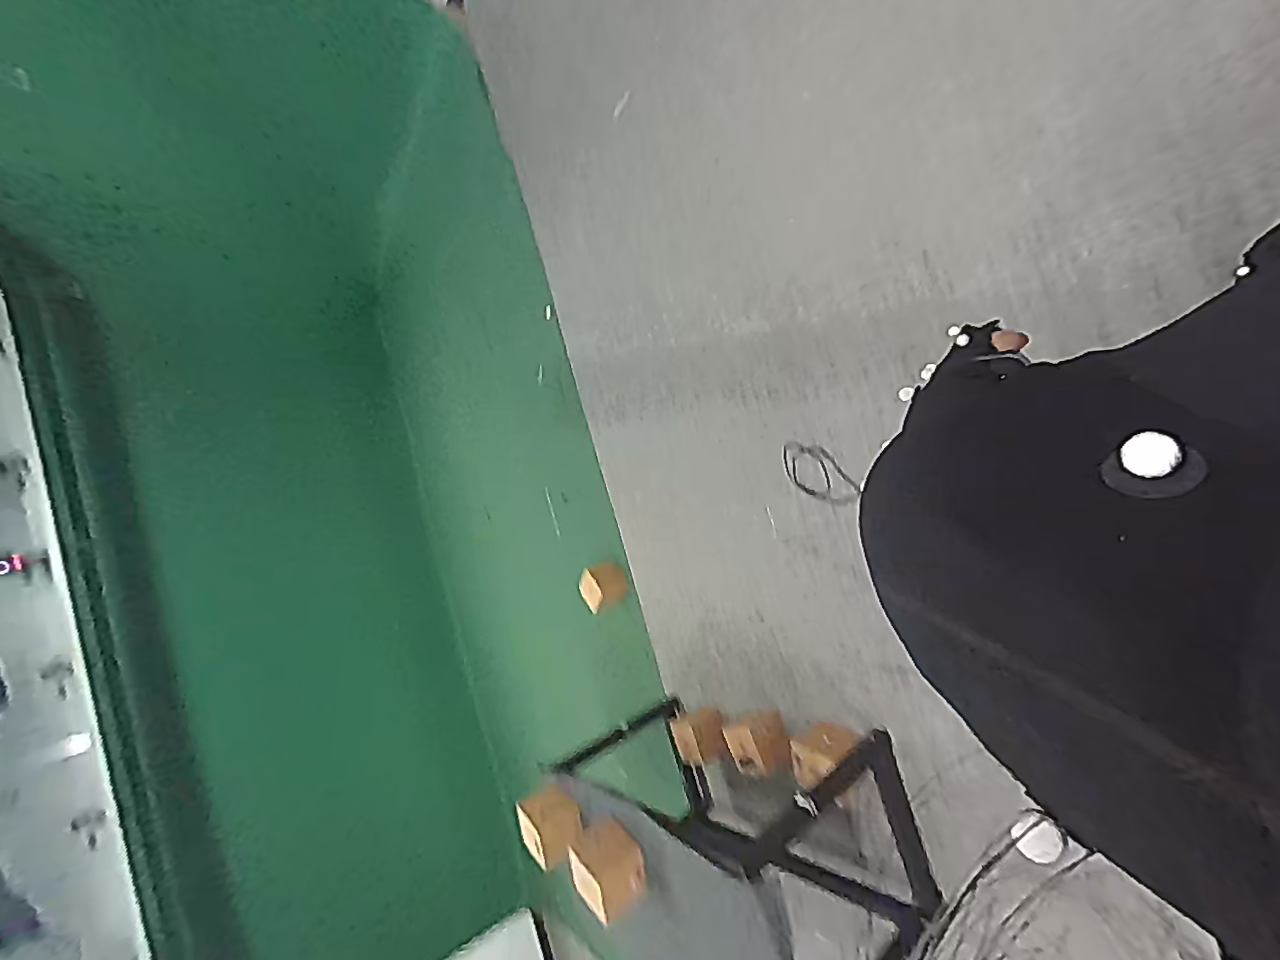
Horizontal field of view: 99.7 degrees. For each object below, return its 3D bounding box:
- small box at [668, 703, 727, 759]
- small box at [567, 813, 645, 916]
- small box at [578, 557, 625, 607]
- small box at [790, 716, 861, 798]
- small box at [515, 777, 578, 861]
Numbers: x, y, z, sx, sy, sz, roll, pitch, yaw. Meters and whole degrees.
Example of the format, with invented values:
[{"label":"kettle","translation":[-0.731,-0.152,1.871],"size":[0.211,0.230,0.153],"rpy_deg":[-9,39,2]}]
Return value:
[{"label":"small box","translation":[0.258,1.118,2.423],"size":[0.168,0.176,0.179],"rpy_deg":[-29,78,52]},{"label":"small box","translation":[-0.107,1.205,1.715],"size":[0.179,0.176,0.168],"rpy_deg":[10,112,49]},{"label":"small box","translation":[-0.200,0.533,2.836],"size":[0.168,0.176,0.179],"rpy_deg":[50,135,31]},{"label":"small box","translation":[0.648,0.950,1.873],"size":[0.179,0.176,0.168],"rpy_deg":[-1,100,51]},{"label":"small box","translation":[-0.344,1.261,2.028],"size":[0.179,0.176,0.168],"rpy_deg":[12,113,49]}]
